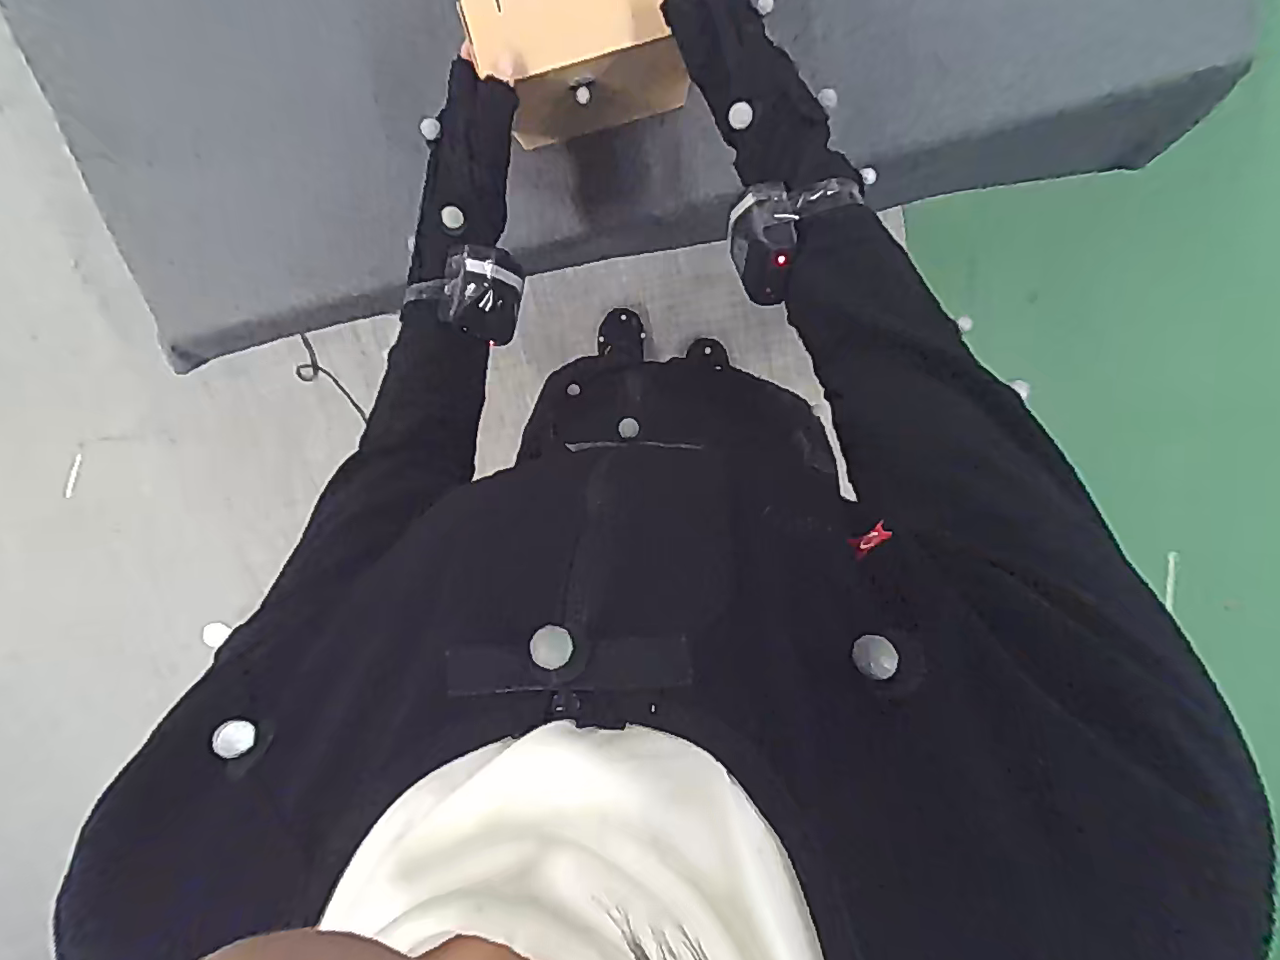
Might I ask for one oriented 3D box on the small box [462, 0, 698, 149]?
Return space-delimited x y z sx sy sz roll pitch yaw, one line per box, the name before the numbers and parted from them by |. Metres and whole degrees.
small box | -0.055 -0.422 0.479 0.179 0.176 0.168 -13 106 4
